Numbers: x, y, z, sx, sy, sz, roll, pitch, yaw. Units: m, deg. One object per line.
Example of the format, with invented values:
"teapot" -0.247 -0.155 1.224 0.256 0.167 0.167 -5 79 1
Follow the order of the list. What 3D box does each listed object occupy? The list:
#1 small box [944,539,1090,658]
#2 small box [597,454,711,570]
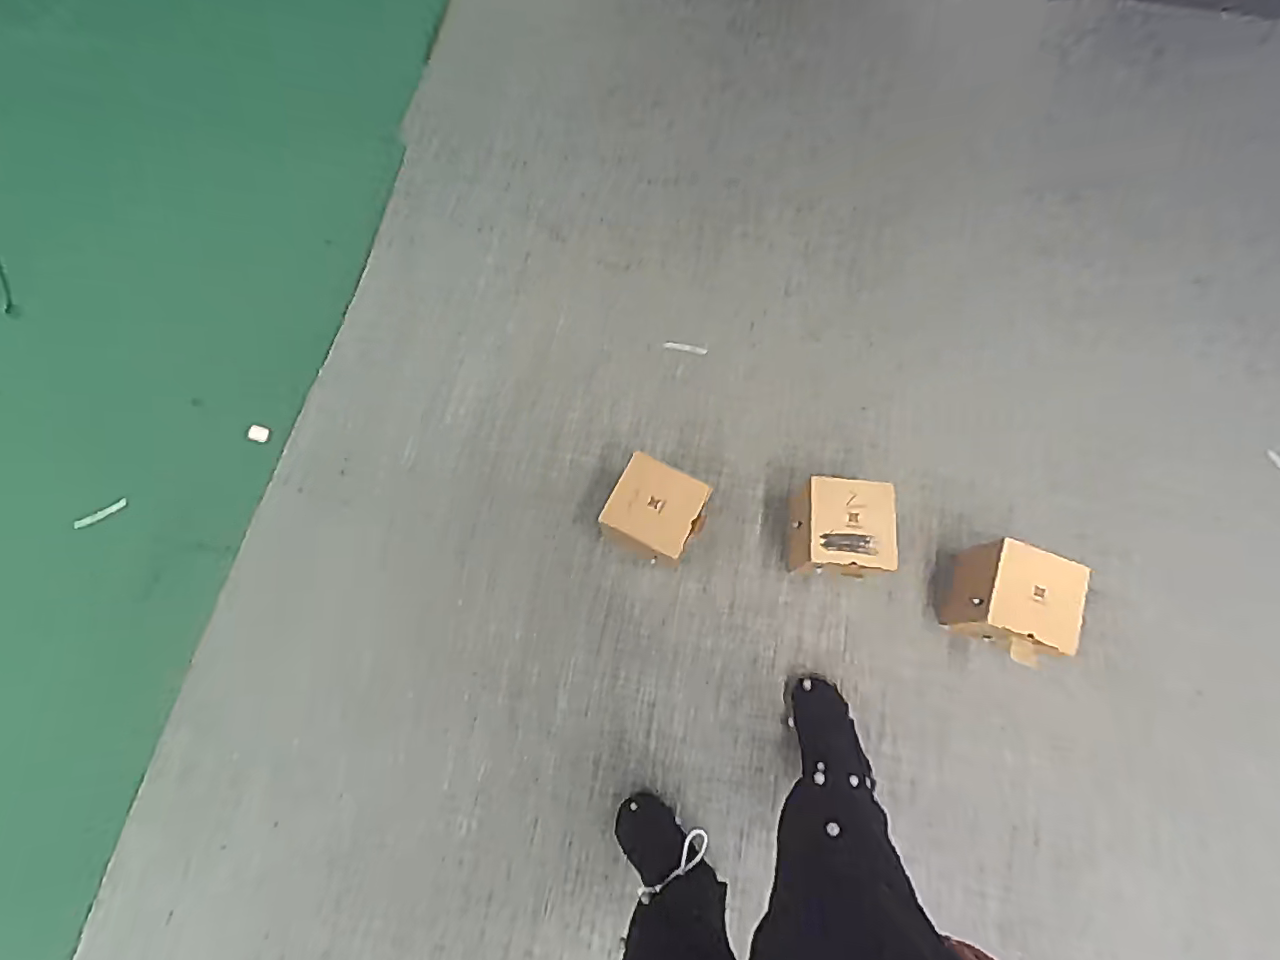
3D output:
"small box" 0.742 0.240 1.079 0.168 0.176 0.179 21 74 6
"small box" 0.030 0.076 1.129 0.179 0.176 0.168 26 73 9
